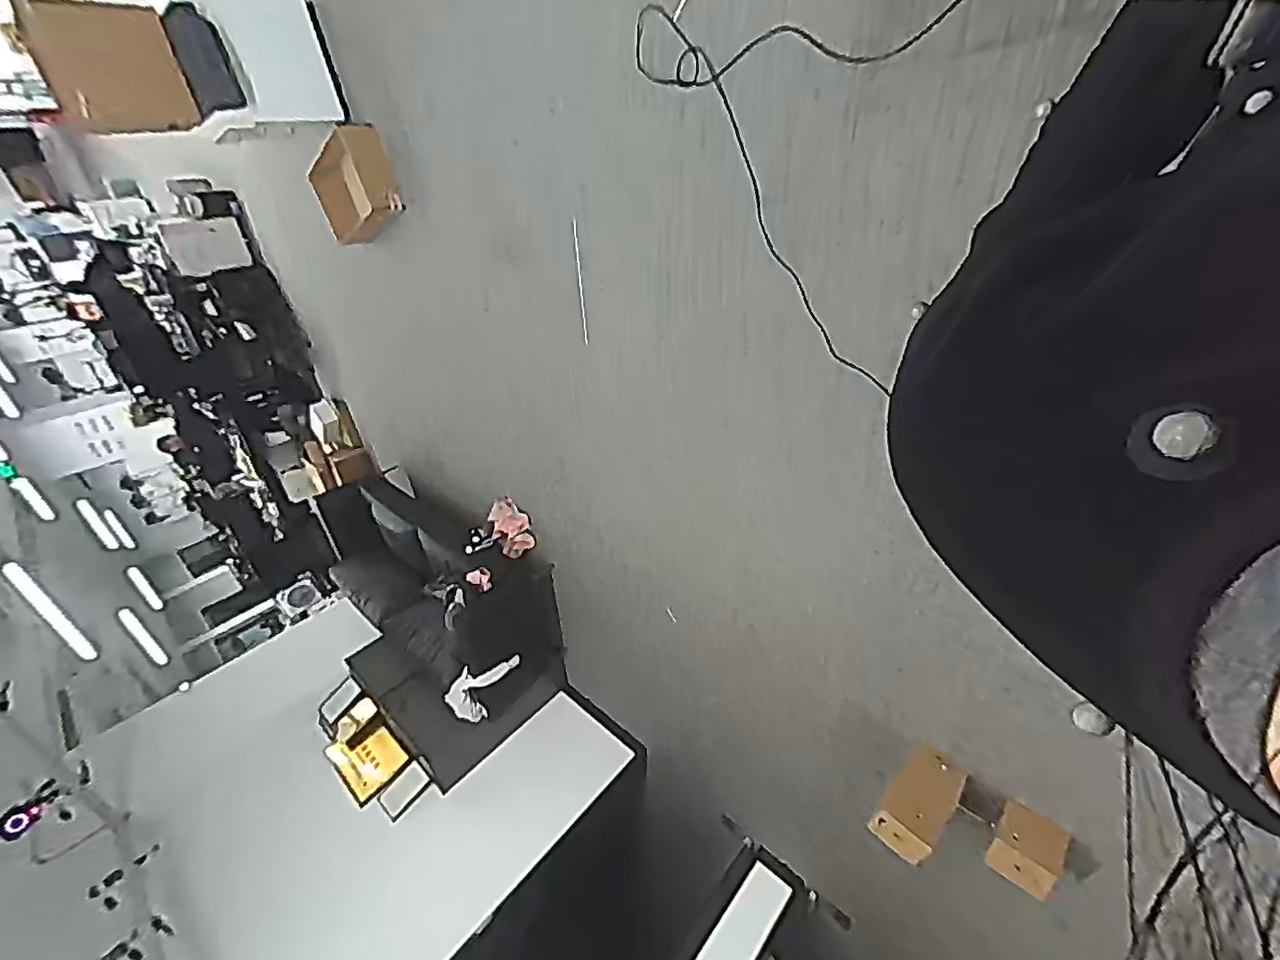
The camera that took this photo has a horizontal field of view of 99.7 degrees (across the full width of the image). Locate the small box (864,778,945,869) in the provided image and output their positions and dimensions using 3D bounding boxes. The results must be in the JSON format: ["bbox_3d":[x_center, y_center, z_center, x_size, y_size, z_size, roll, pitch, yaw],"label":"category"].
[{"bbox_3d":[0.909,1.170,1.852,0.179,0.176,0.168,32,135,28],"label":"small box"}]

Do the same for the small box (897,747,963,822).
[{"bbox_3d":[1.030,1.111,1.947,0.168,0.176,0.179,32,135,28],"label":"small box"}]

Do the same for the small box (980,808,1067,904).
[{"bbox_3d":[1.257,1.221,1.773,0.179,0.176,0.168,24,131,35],"label":"small box"}]
